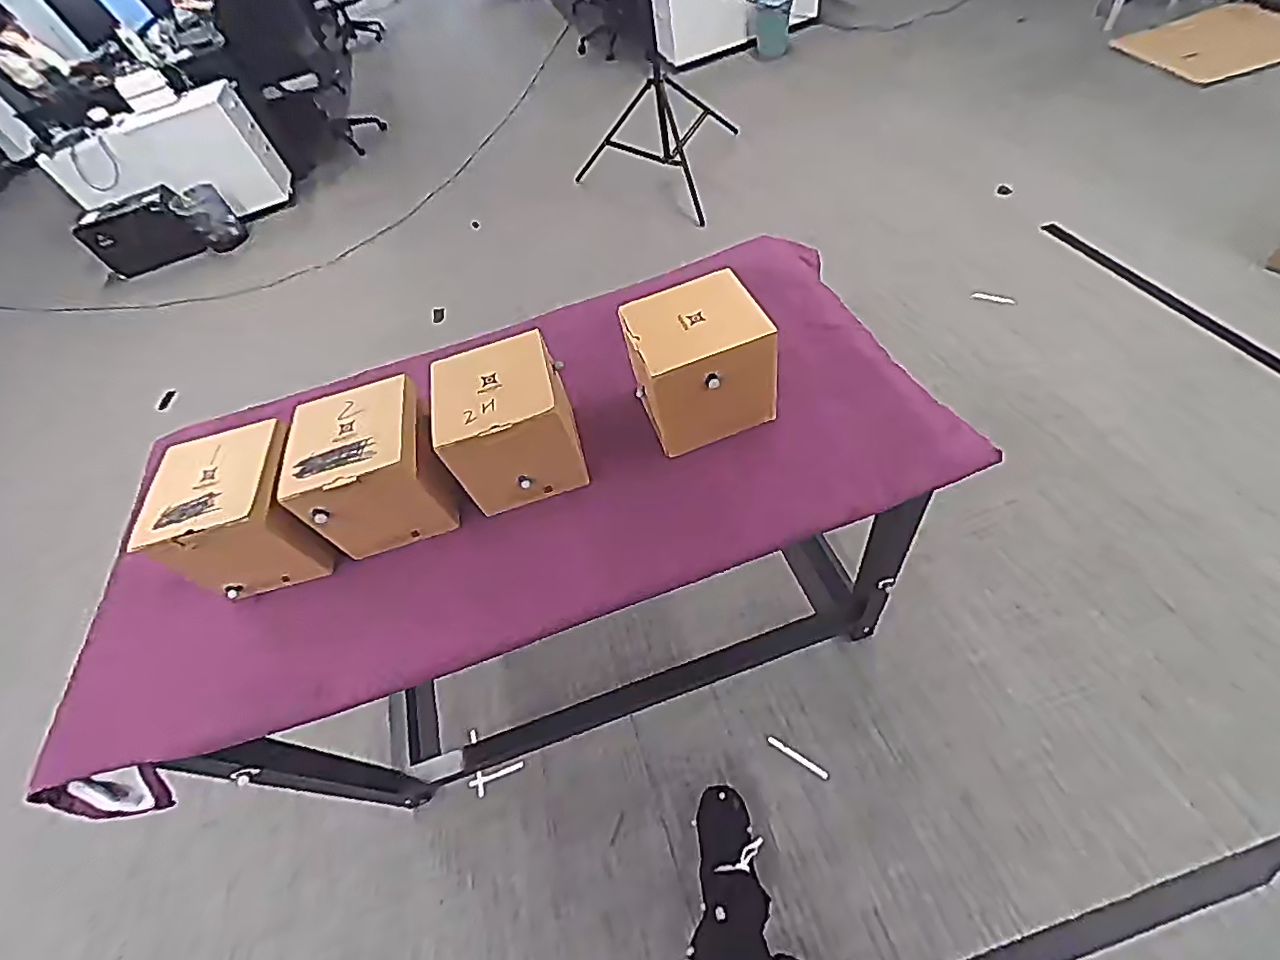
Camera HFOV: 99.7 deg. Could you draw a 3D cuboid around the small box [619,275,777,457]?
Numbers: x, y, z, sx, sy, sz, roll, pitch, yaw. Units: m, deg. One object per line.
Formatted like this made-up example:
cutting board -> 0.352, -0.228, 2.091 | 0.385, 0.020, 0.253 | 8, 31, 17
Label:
small box -> 0.086, -0.163, 0.798 | 0.179, 0.176, 0.168 | -21, 52, -1
